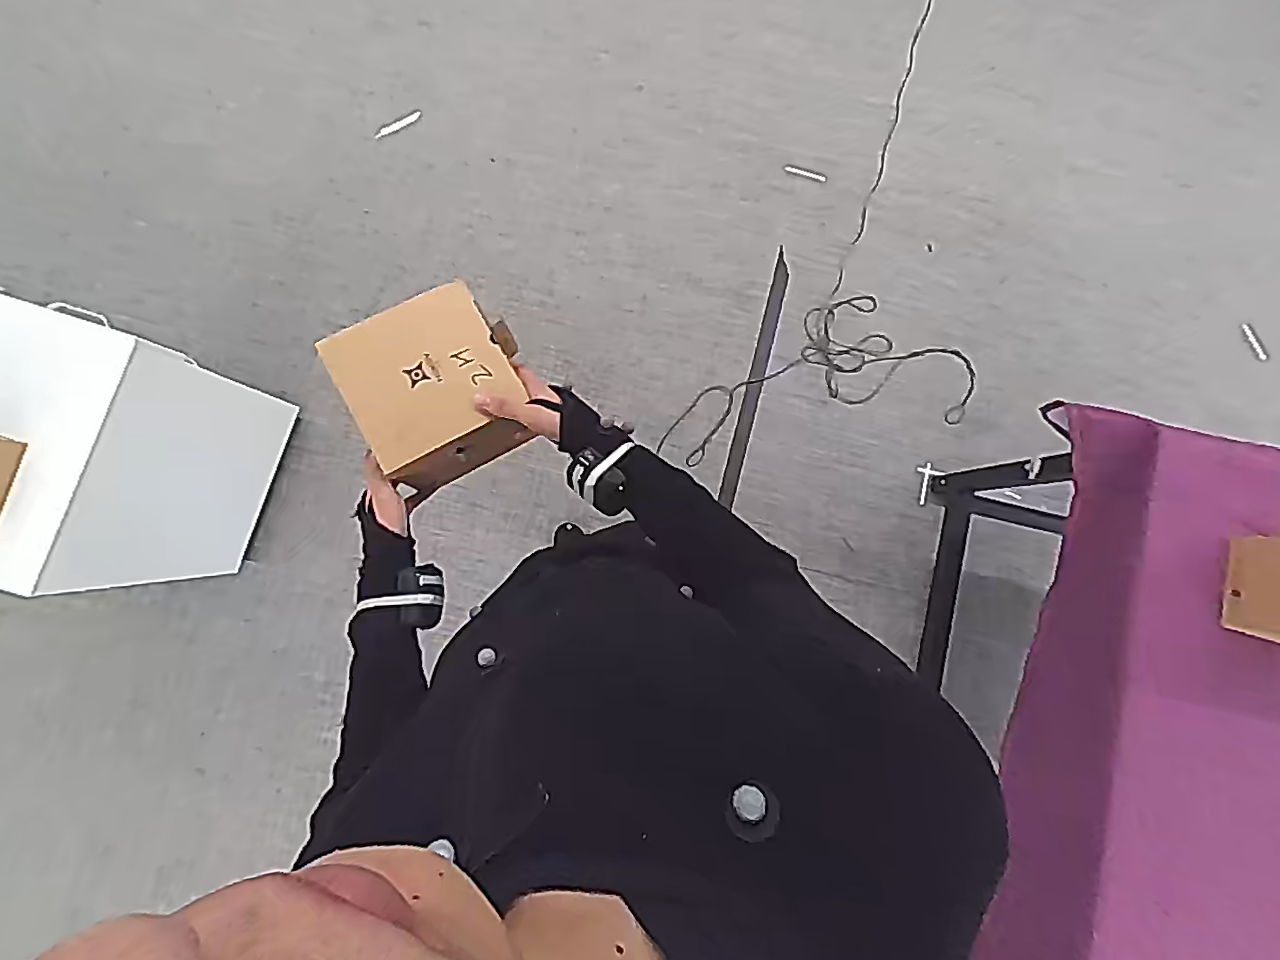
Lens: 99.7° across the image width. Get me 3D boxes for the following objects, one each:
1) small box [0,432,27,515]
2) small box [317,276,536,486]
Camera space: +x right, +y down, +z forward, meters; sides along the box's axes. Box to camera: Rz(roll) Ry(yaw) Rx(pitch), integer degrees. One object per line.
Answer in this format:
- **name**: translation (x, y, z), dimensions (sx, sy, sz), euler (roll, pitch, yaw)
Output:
- **small box**: translation (-1.234, -0.019, 0.924), dimensions (0.168, 0.176, 0.179), euler (15, 83, -2)
- **small box**: translation (-0.244, -0.108, 0.666), dimensions (0.179, 0.176, 0.168), euler (-31, 86, -11)
